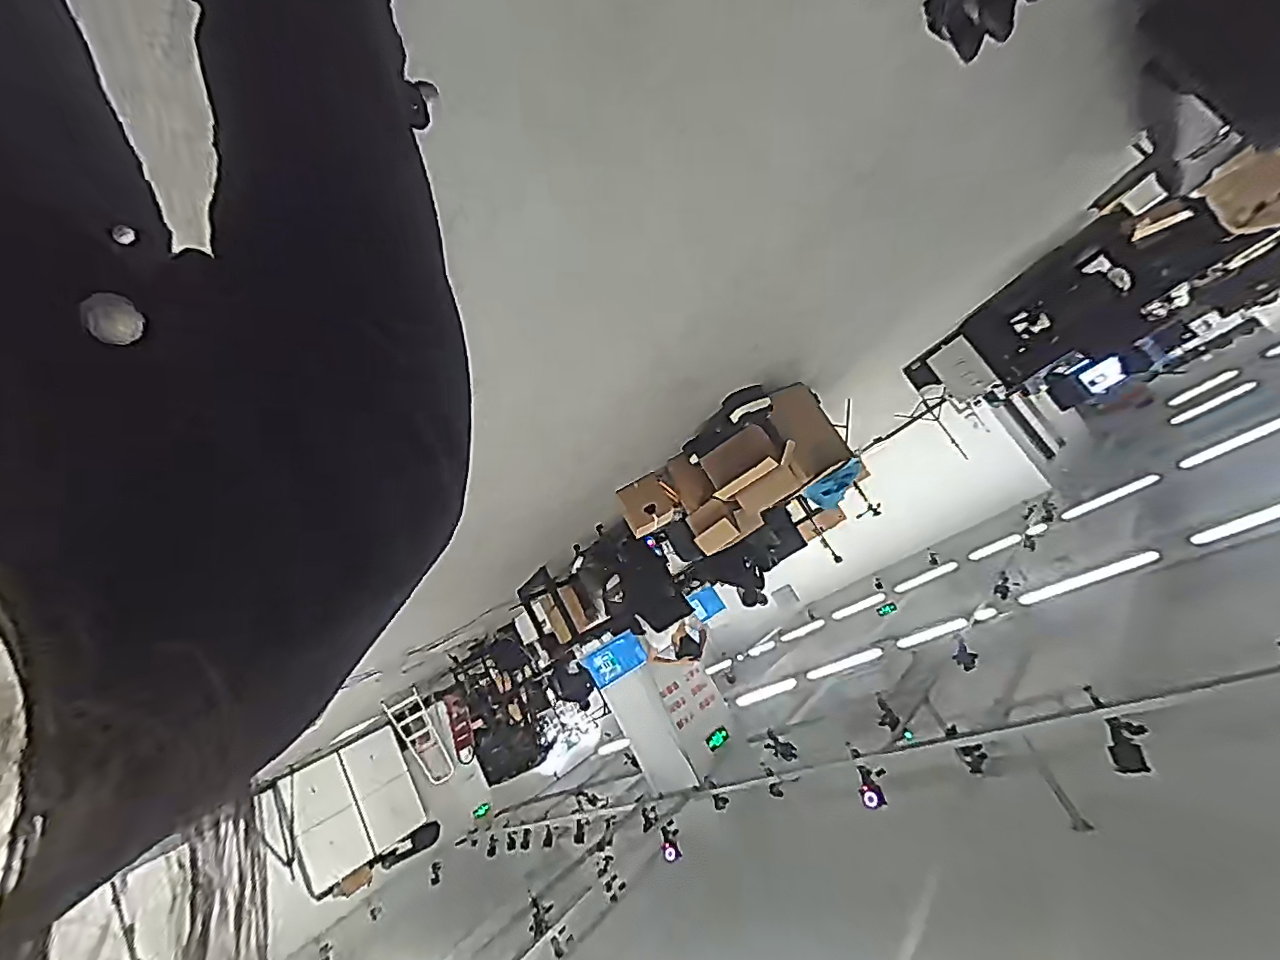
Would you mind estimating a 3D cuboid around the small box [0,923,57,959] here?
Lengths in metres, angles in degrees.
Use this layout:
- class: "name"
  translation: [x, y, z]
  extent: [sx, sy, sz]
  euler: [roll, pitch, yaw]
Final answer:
- class: "small box"
  translation: [-1.669, 1.305, 1.415]
  extent: [0.179, 0.176, 0.168]
  euler: [-17, 160, -44]
